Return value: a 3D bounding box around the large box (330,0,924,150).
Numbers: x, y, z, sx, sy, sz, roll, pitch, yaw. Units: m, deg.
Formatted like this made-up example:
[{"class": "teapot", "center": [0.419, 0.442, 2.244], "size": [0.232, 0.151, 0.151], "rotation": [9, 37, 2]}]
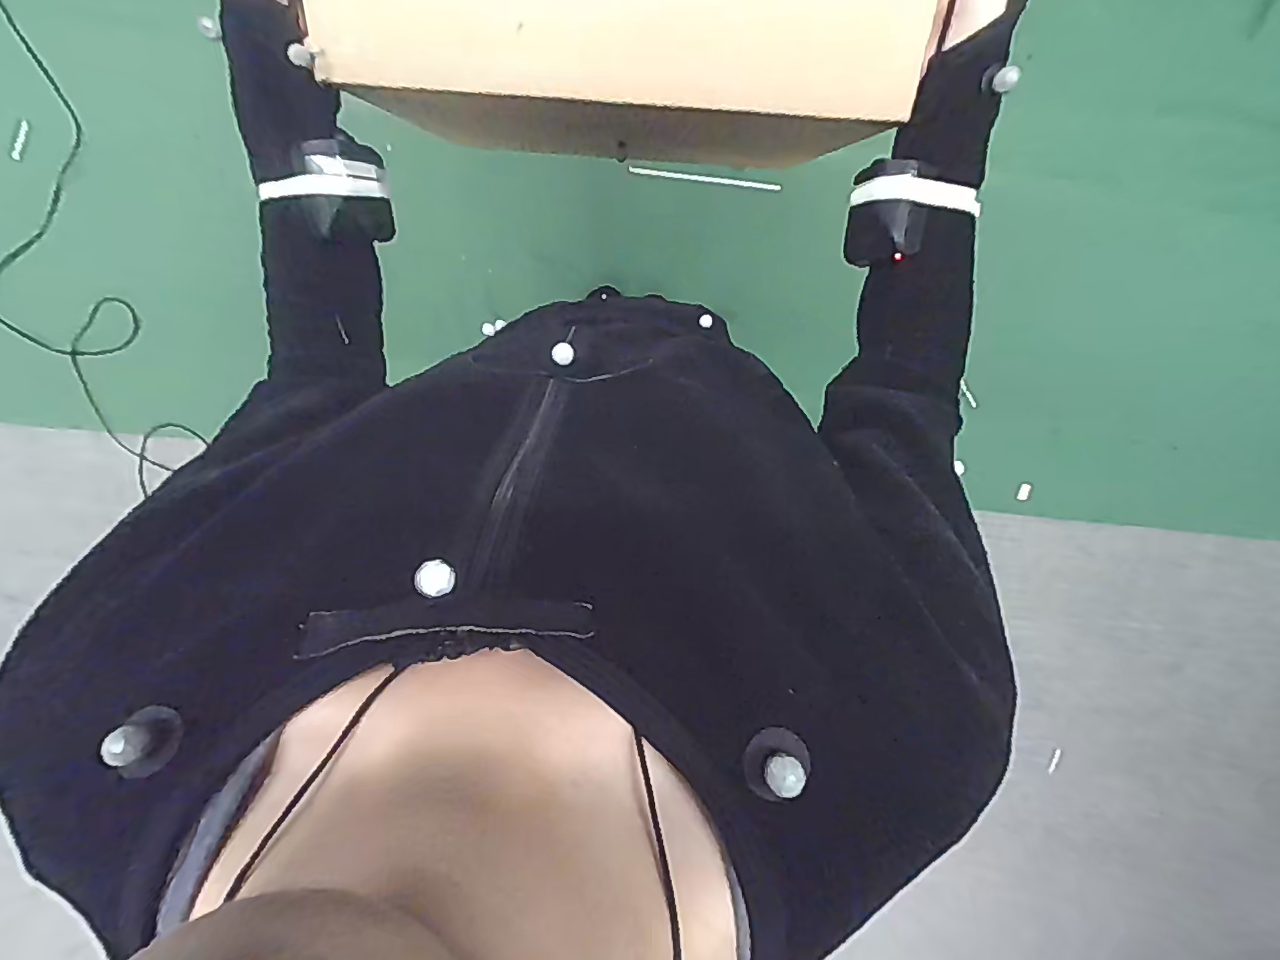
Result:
[{"class": "large box", "center": [-0.004, -0.474, 0.450], "size": [0.408, 0.320, 0.320], "rotation": [2, 115, -2]}]
